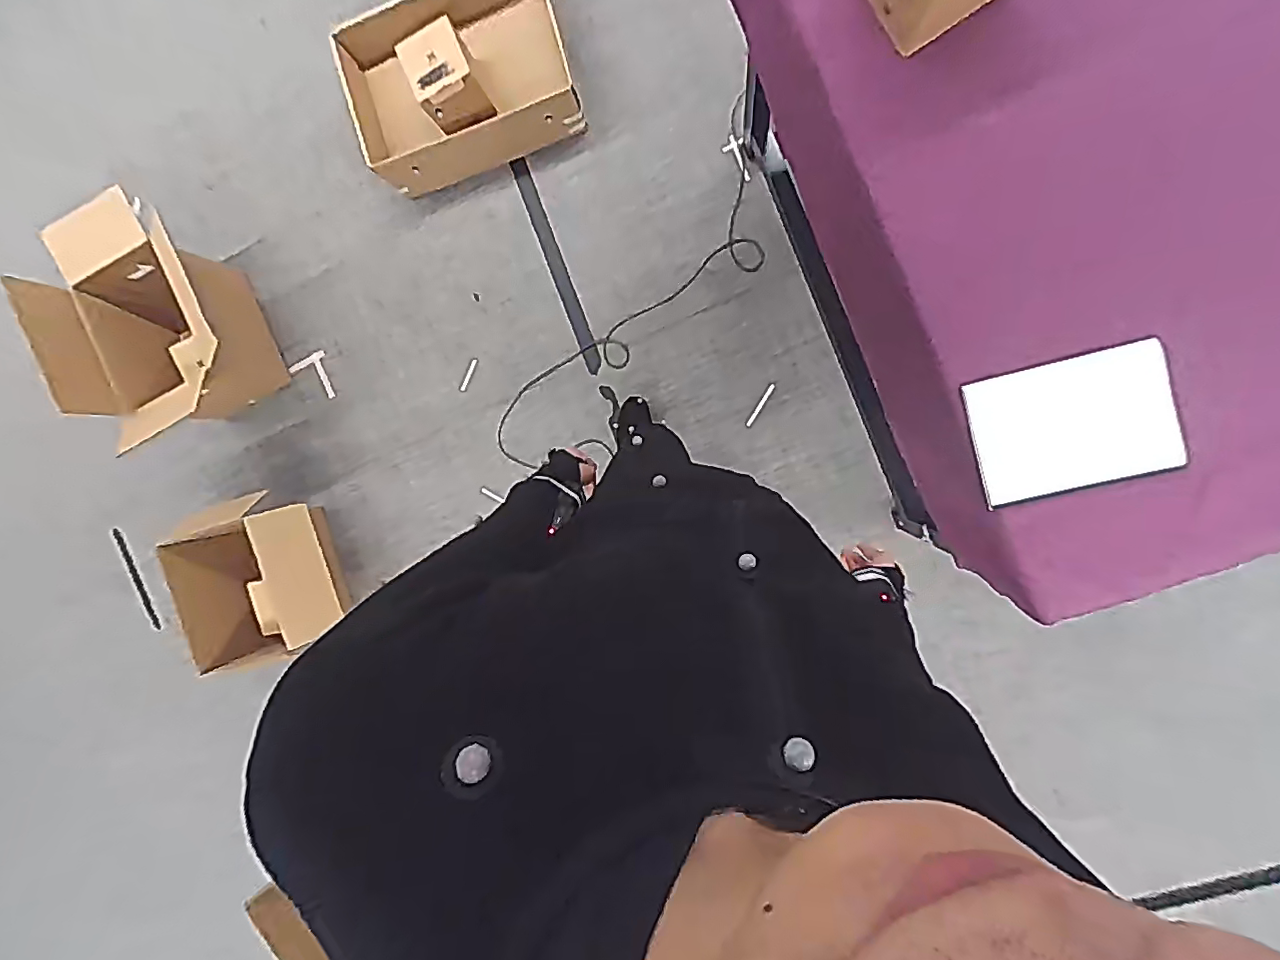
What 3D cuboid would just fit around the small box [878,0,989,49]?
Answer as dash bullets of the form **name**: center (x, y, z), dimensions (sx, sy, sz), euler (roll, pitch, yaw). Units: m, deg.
- **small box**: center (0.409, -0.728, 0.703), dimensions (0.179, 0.176, 0.168), euler (-30, 90, 9)
